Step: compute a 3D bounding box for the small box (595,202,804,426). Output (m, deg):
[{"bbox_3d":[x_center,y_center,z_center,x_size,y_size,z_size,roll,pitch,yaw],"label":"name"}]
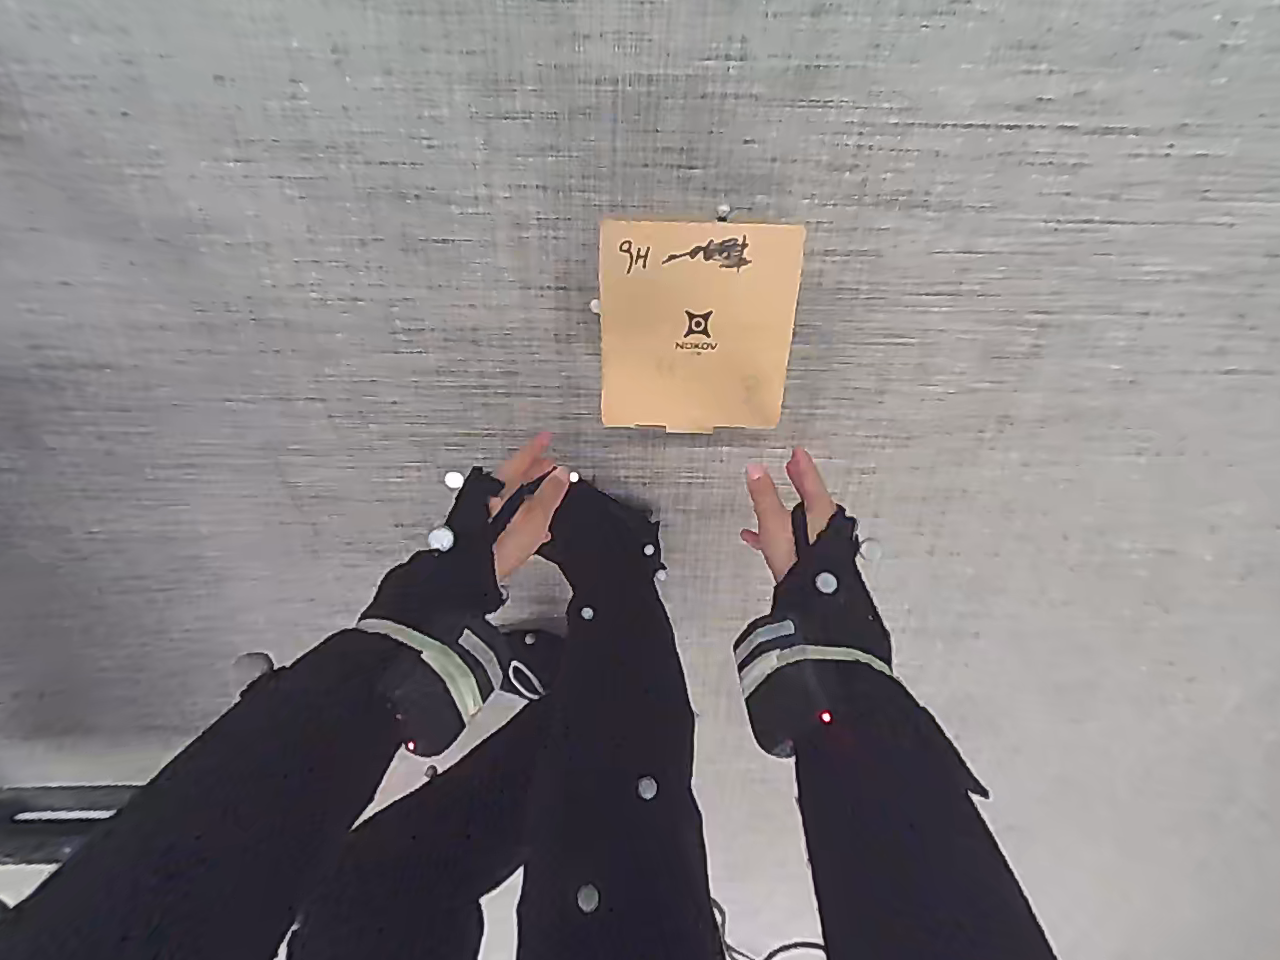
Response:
[{"bbox_3d":[0.044,-0.167,0.527,0.168,0.176,0.179,1,119,-2],"label":"small box"}]
